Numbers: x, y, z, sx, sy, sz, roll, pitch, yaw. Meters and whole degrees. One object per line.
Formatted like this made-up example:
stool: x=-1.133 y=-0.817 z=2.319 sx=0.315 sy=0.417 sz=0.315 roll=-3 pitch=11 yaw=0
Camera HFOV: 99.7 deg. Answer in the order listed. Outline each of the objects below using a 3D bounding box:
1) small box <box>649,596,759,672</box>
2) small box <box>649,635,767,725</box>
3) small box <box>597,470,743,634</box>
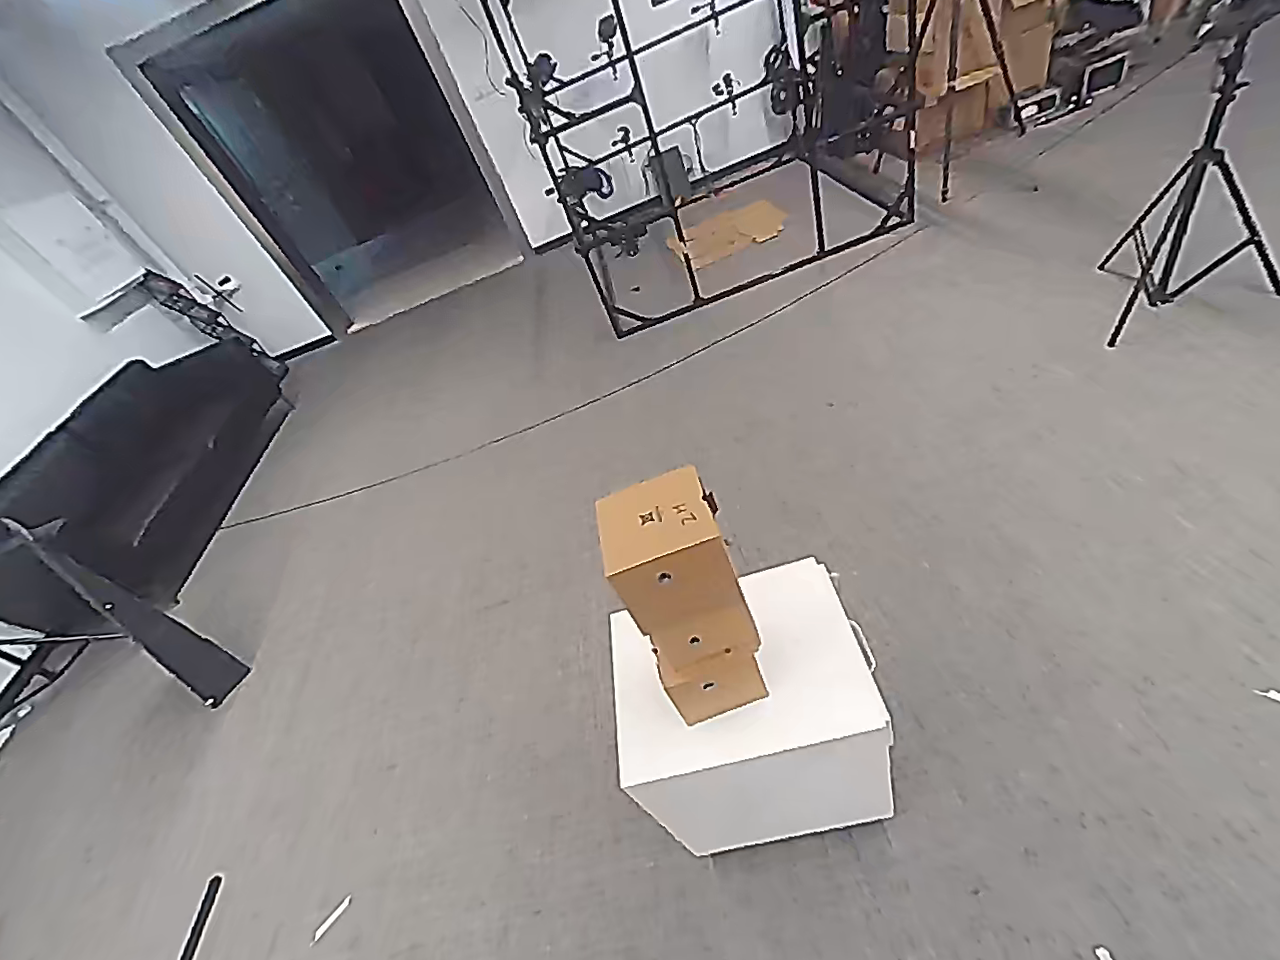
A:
small box: x=0.102 y=0.225 z=0.981 sx=0.168 sy=0.176 sz=0.179 roll=-22 pitch=39 yaw=4
small box: x=0.133 y=0.356 z=1.075 sx=0.179 sy=0.176 sz=0.168 roll=-22 pitch=40 yaw=3
small box: x=0.047 y=0.119 z=0.866 sx=0.179 sy=0.176 sz=0.168 roll=-20 pitch=40 yaw=6
